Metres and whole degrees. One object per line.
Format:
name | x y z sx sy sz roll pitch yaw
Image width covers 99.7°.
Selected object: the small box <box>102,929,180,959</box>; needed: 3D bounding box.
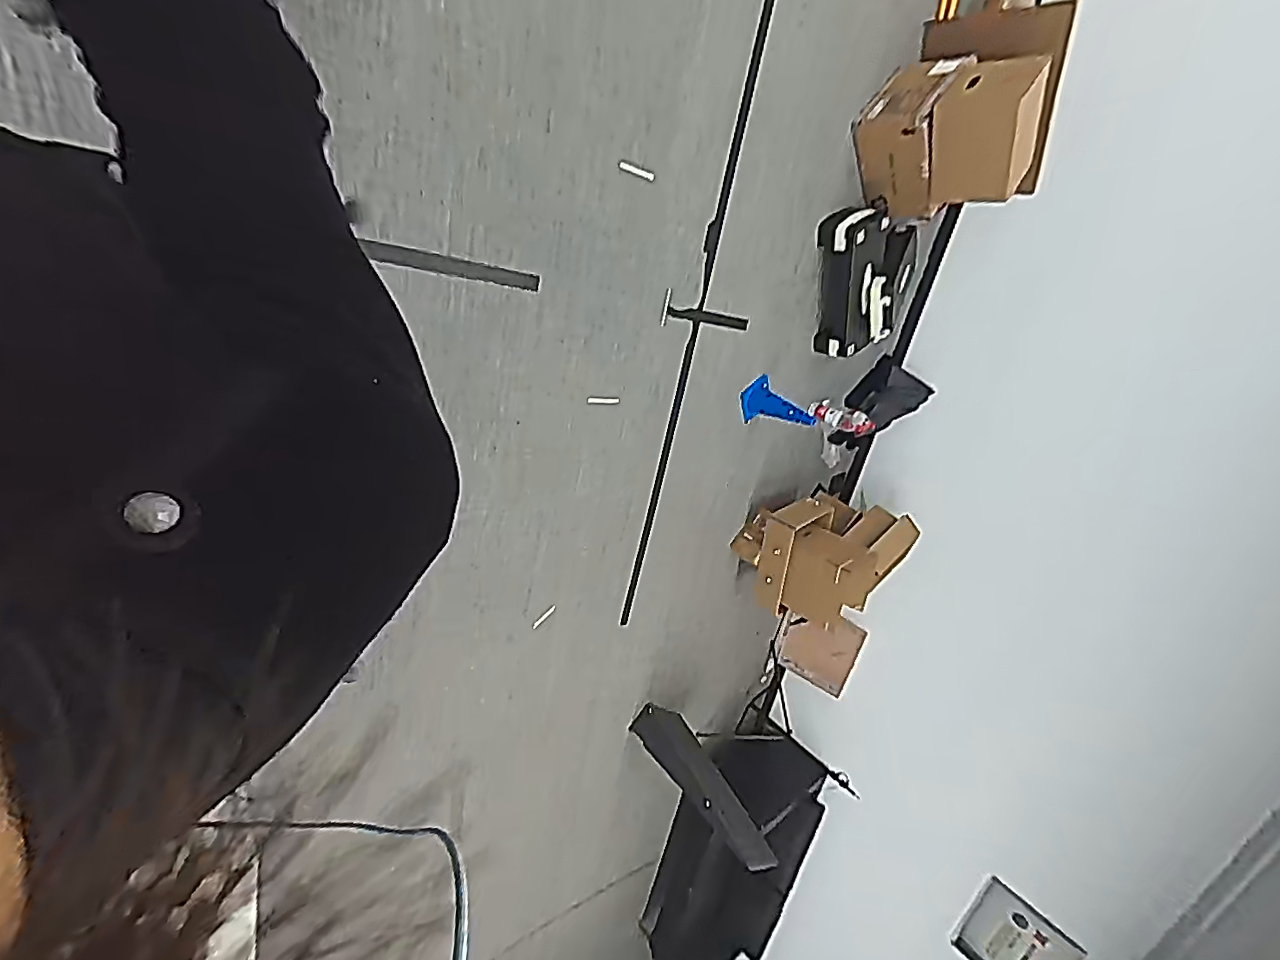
small box | -1.028 1.063 1.076 0.179 0.176 0.168 -11 121 -39
